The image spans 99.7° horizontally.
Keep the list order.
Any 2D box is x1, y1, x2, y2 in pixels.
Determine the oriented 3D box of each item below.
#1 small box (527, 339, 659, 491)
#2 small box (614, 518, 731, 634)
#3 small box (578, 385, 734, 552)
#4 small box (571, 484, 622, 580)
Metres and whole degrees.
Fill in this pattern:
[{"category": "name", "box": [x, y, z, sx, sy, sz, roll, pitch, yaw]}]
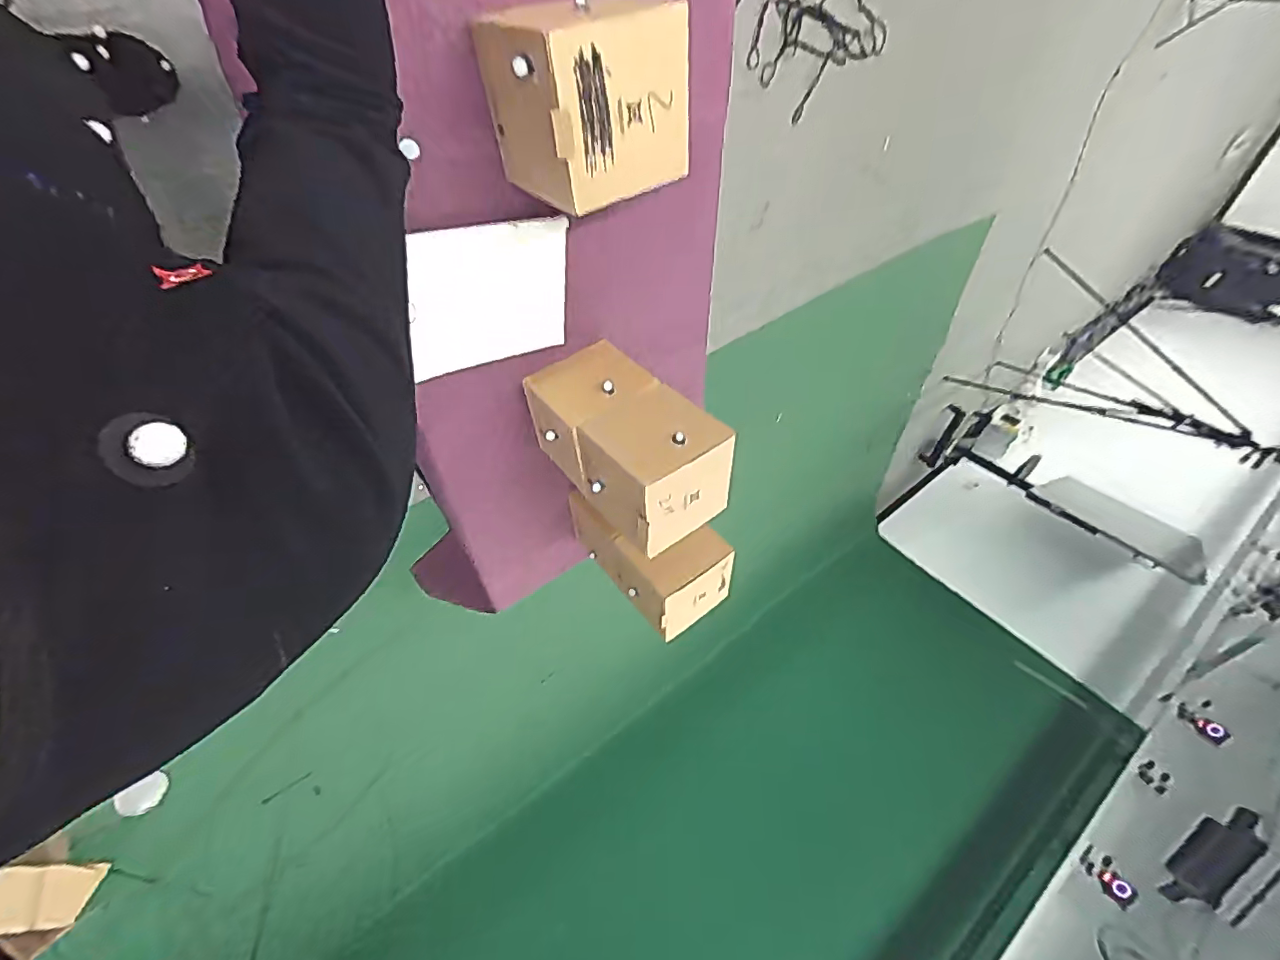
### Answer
[{"category": "small box", "box": [-0.083, -0.119, 0.953, 0.179, 0.176, 0.168, -32, 143, -22]}, {"category": "small box", "box": [0.058, 0.171, 1.104, 0.179, 0.176, 0.168, -29, 143, -23]}, {"category": "small box", "box": [0.023, -0.026, 0.865, 0.179, 0.176, 0.168, -29, 142, -25]}, {"category": "small box", "box": [-0.040, 0.081, 1.200, 0.179, 0.176, 0.168, -29, 143, -24]}]
